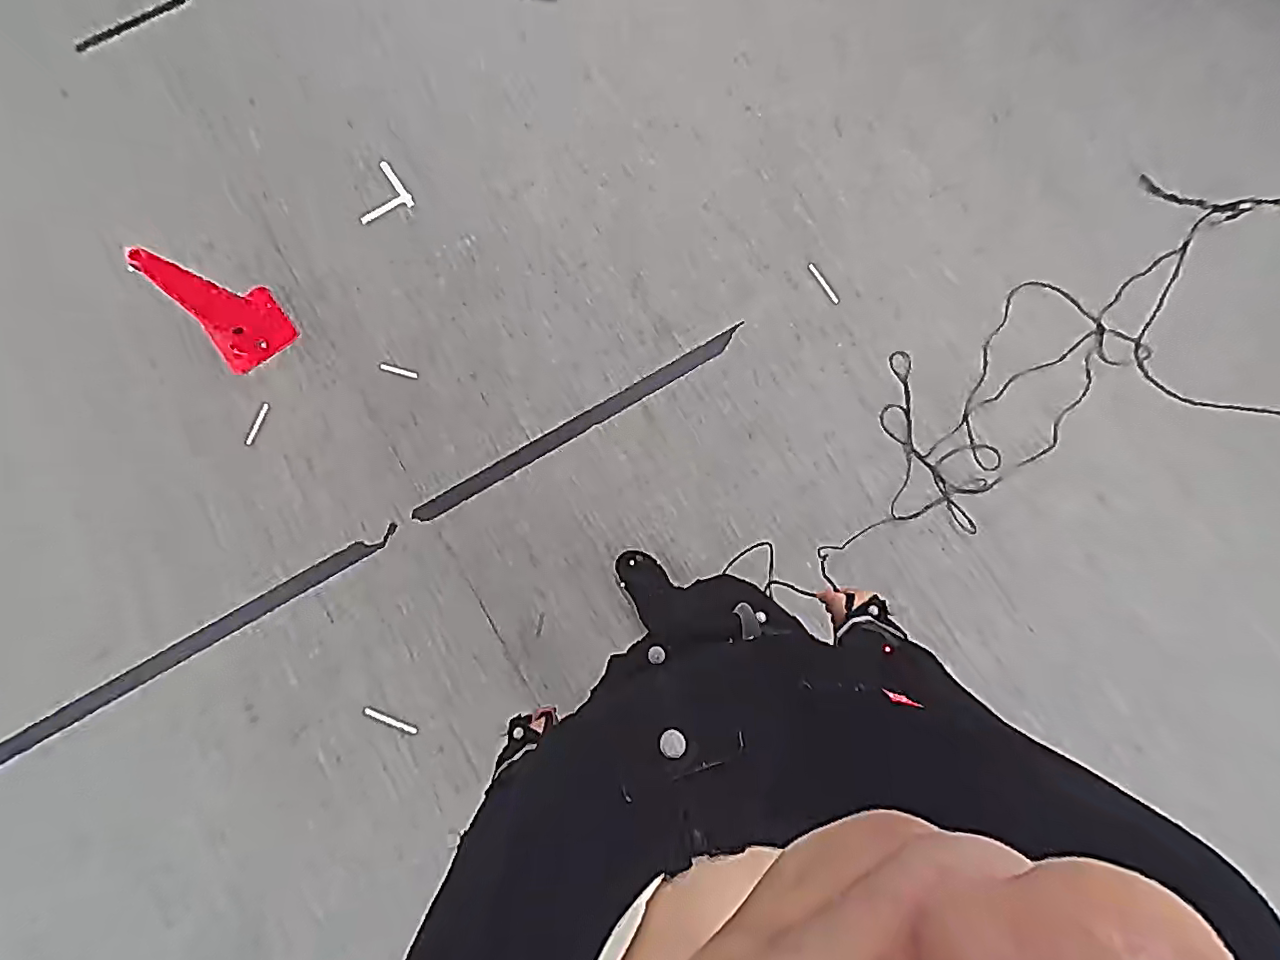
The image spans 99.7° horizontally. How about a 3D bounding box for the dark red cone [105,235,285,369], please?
[{"bbox_3d":[-1.073,-0.444,1.284,0.202,0.394,0.201,-39,83,-7],"label":"dark red cone"}]
